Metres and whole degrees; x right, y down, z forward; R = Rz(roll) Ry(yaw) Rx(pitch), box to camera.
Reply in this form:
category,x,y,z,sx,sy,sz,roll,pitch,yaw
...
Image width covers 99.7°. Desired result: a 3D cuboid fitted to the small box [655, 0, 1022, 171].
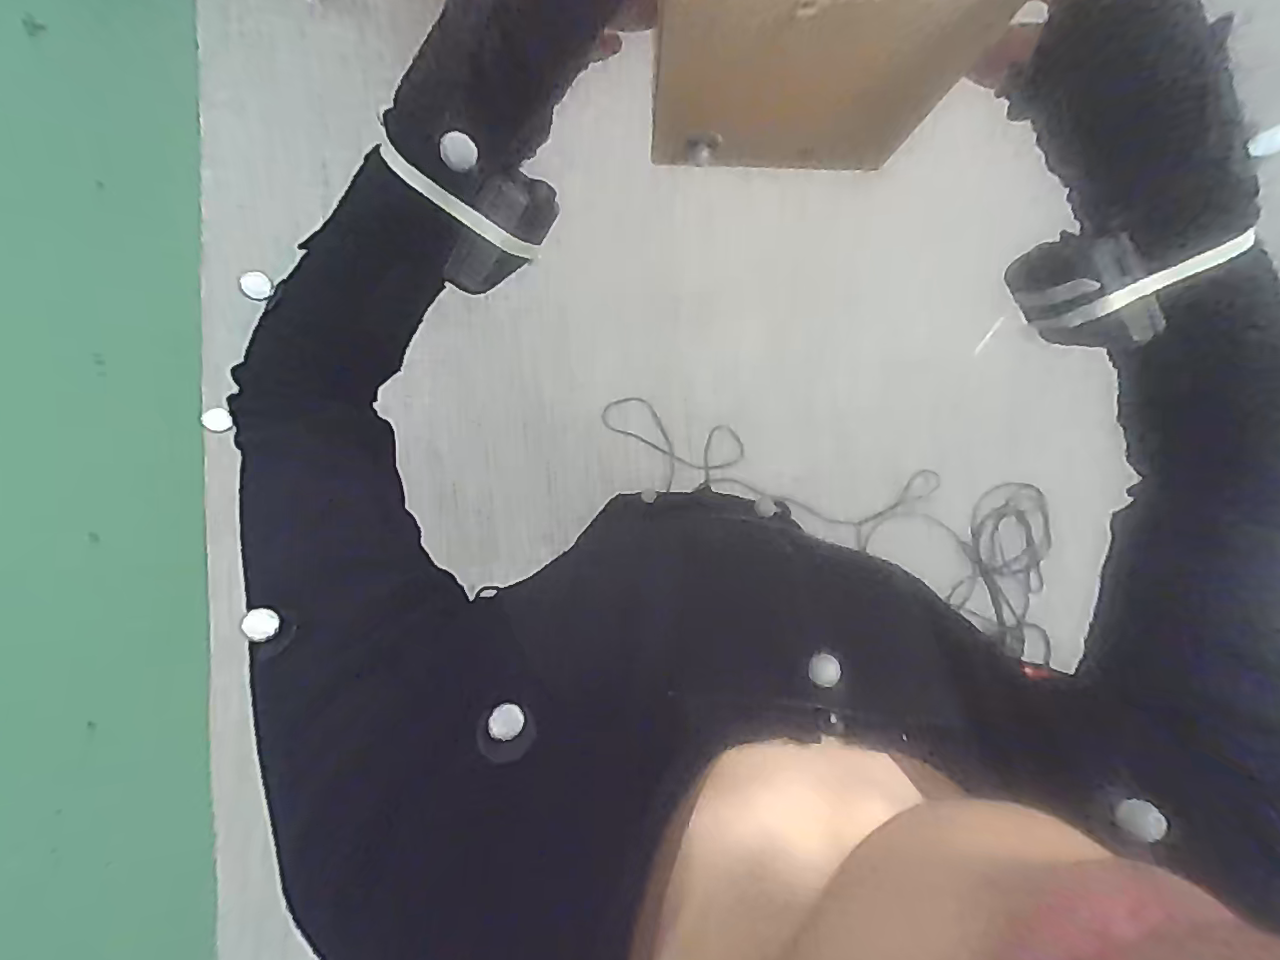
category,x,y,z,sx,sy,sz,roll,pitch,yaw
small box,0.096,-0.298,0.298,0.168,0.176,0.179,1,92,-2
